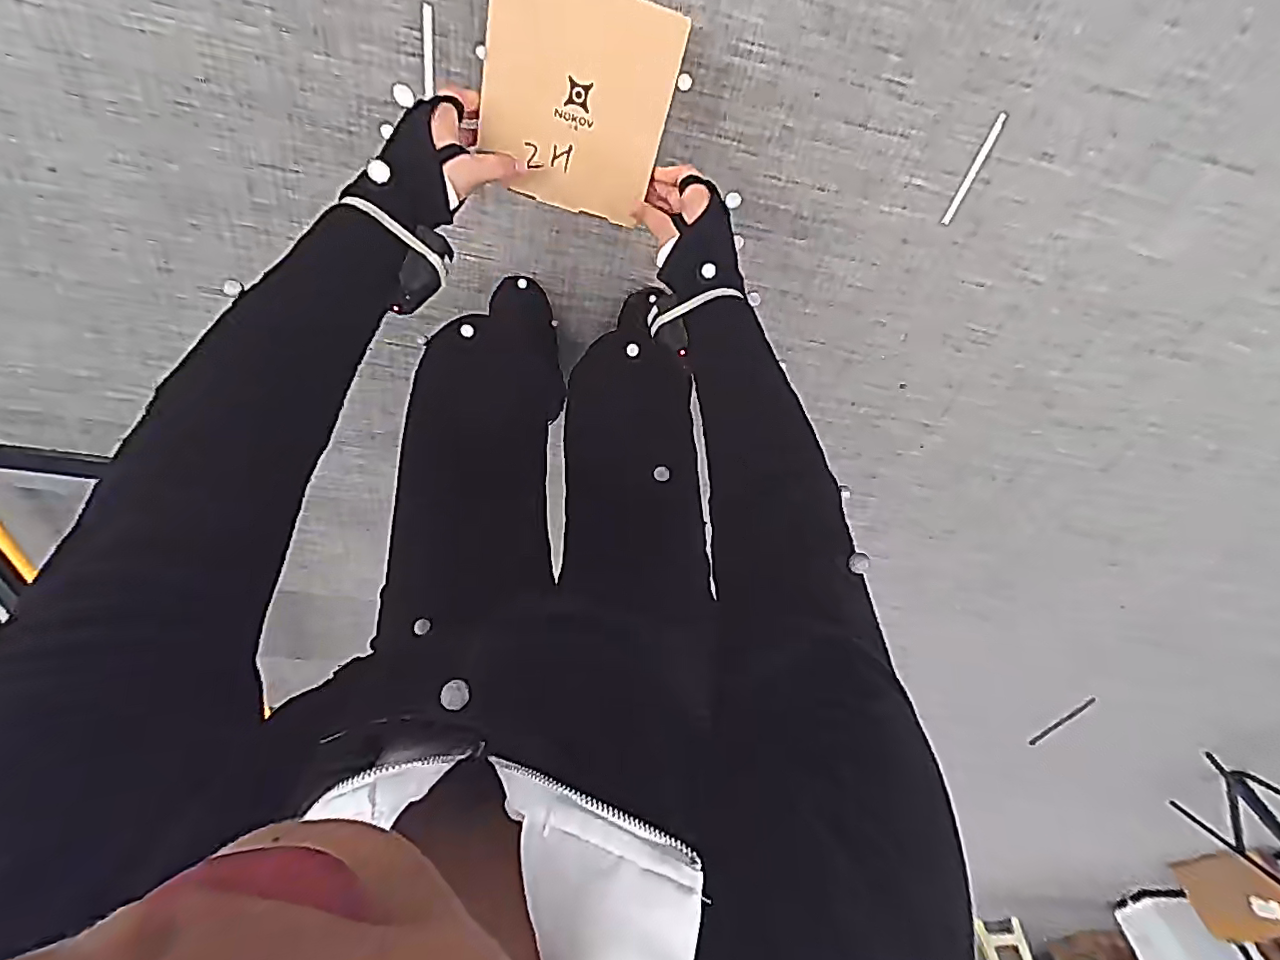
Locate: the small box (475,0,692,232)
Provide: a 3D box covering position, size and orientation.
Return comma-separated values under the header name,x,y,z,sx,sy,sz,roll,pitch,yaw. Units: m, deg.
name,x,y,z,sx,sy,sz,roll,pitch,yaw
small box,-0.060,-0.387,0.549,0.168,0.176,0.179,12,129,-12
